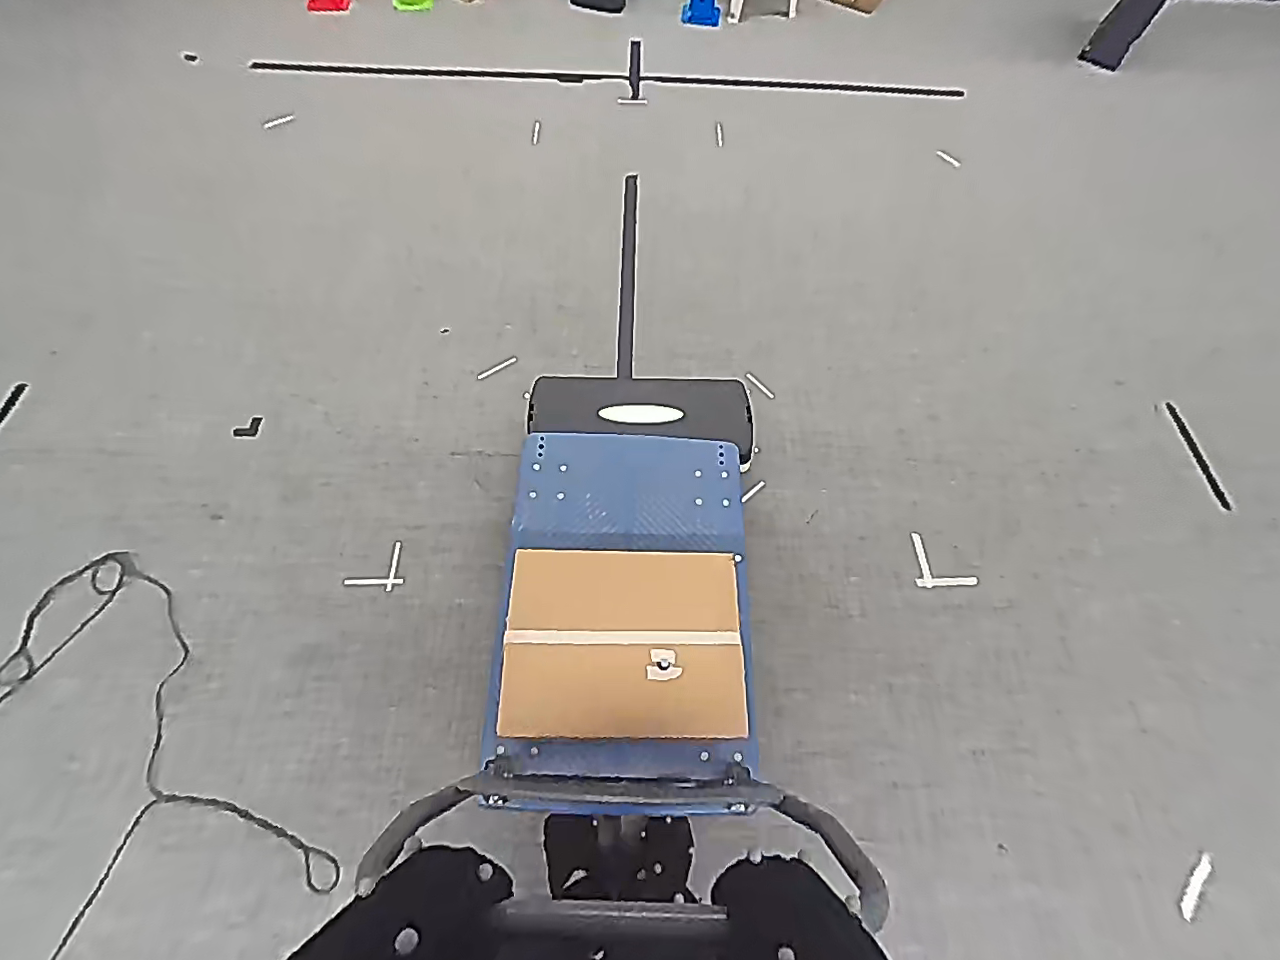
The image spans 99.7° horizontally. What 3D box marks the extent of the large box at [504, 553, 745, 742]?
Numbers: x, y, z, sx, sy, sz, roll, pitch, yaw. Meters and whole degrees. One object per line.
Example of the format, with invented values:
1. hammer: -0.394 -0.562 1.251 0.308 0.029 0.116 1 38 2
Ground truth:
1. large box: -0.035 0.345 1.081 0.408 0.320 0.320 2 63 -3
